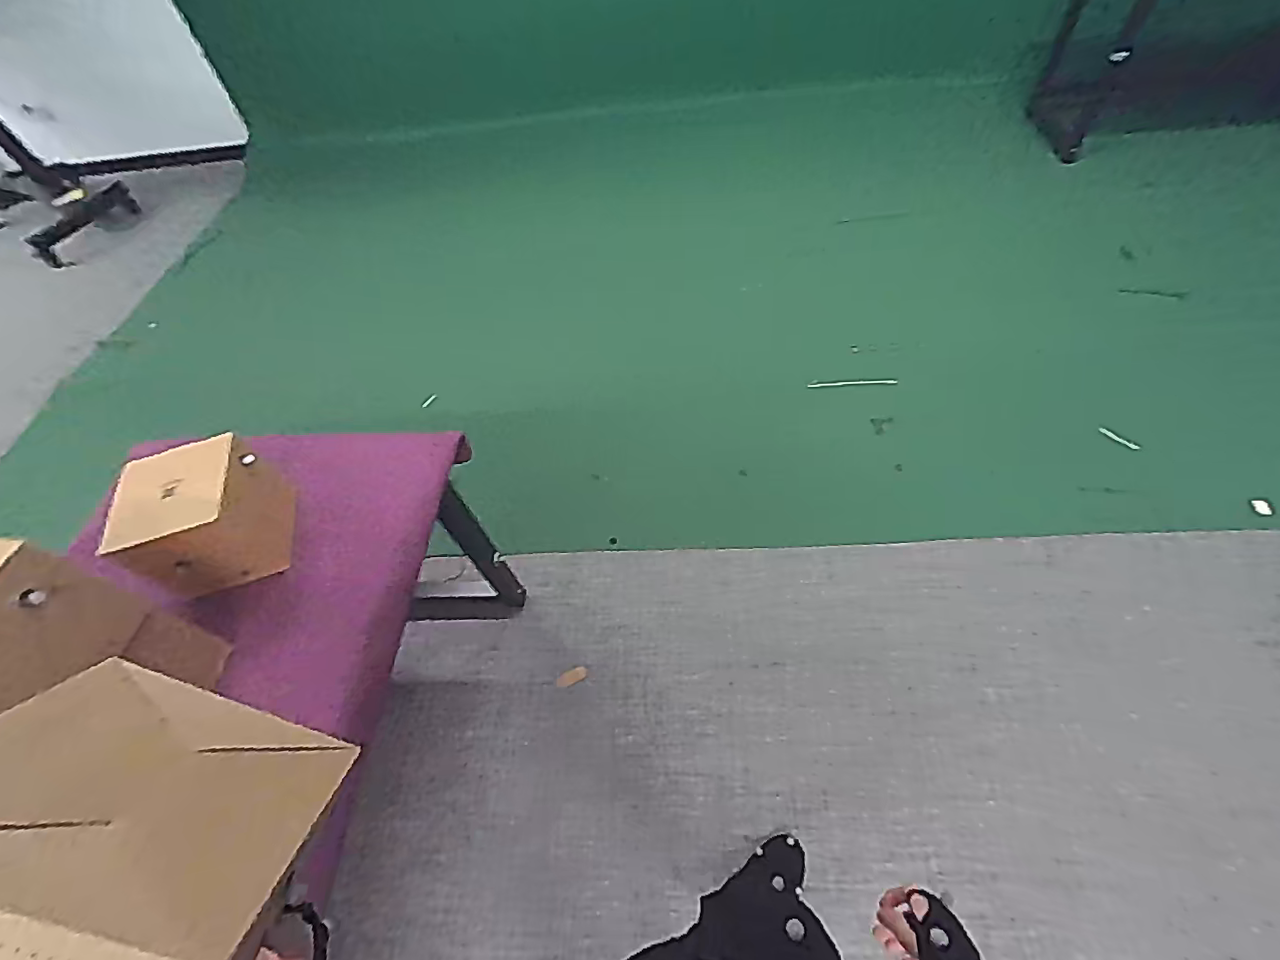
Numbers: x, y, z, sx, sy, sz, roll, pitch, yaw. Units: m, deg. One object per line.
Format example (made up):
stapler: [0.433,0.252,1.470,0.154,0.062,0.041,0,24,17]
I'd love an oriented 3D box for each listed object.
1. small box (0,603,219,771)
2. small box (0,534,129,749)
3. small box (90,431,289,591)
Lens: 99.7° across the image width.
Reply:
small box: [-0.714,0.269,0.708,0.168,0.176,0.179,3,55,7]
small box: [-0.719,0.169,0.577,0.168,0.176,0.179,3,55,8]
small box: [-0.690,0.058,0.856,0.168,0.176,0.179,-18,55,-6]
